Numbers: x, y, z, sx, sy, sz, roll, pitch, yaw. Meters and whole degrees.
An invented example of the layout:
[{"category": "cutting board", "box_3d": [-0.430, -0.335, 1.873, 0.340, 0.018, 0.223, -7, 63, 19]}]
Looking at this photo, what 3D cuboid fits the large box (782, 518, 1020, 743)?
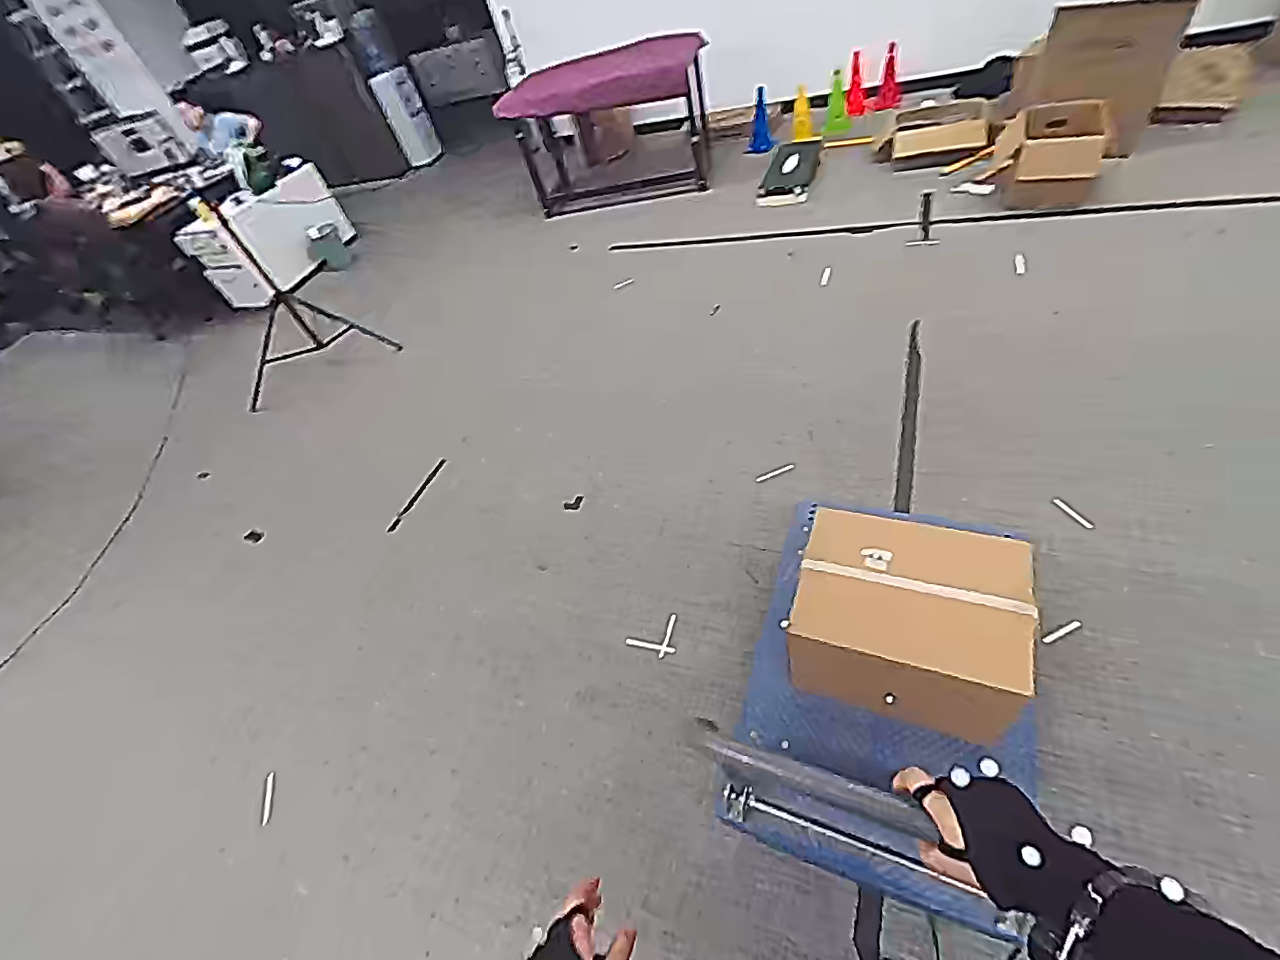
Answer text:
[{"category": "large box", "box_3d": [0.552, 0.320, 1.179, 0.408, 0.320, 0.320, 8, 52, 25]}]
